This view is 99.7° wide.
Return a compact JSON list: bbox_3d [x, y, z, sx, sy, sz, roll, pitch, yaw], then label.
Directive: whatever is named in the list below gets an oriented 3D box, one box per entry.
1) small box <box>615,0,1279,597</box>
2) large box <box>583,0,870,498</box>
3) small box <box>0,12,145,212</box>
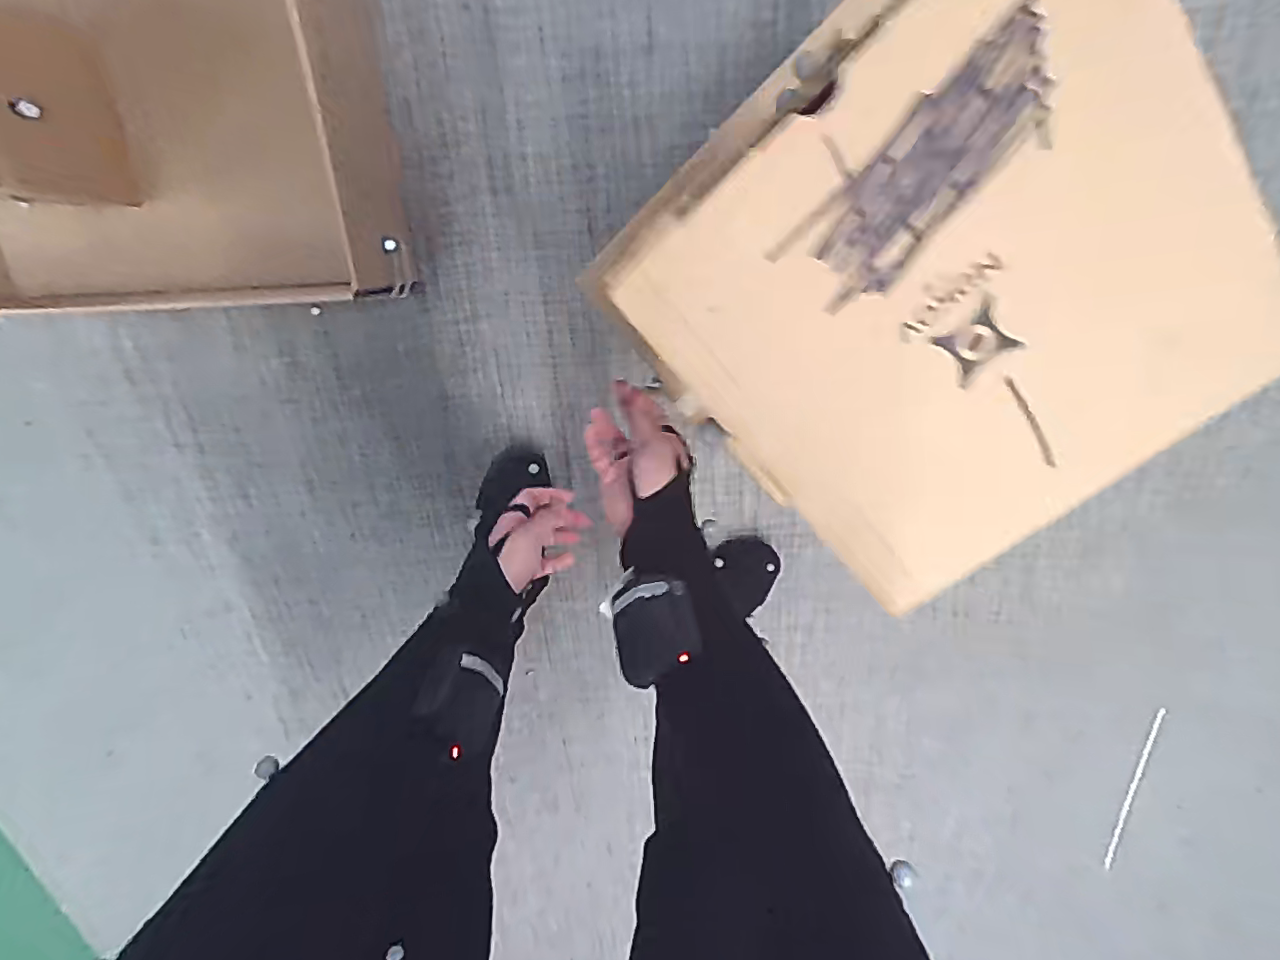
[{"bbox_3d":[0.106,-0.088,0.255,0.168,0.176,0.179,-40,107,15],"label":"small box"},{"bbox_3d":[0.189,-0.259,0.627,0.408,0.320,0.320,-41,107,14],"label":"large box"},{"bbox_3d":[-0.719,-0.404,0.600,0.168,0.176,0.179,0,113,-3],"label":"small box"}]
